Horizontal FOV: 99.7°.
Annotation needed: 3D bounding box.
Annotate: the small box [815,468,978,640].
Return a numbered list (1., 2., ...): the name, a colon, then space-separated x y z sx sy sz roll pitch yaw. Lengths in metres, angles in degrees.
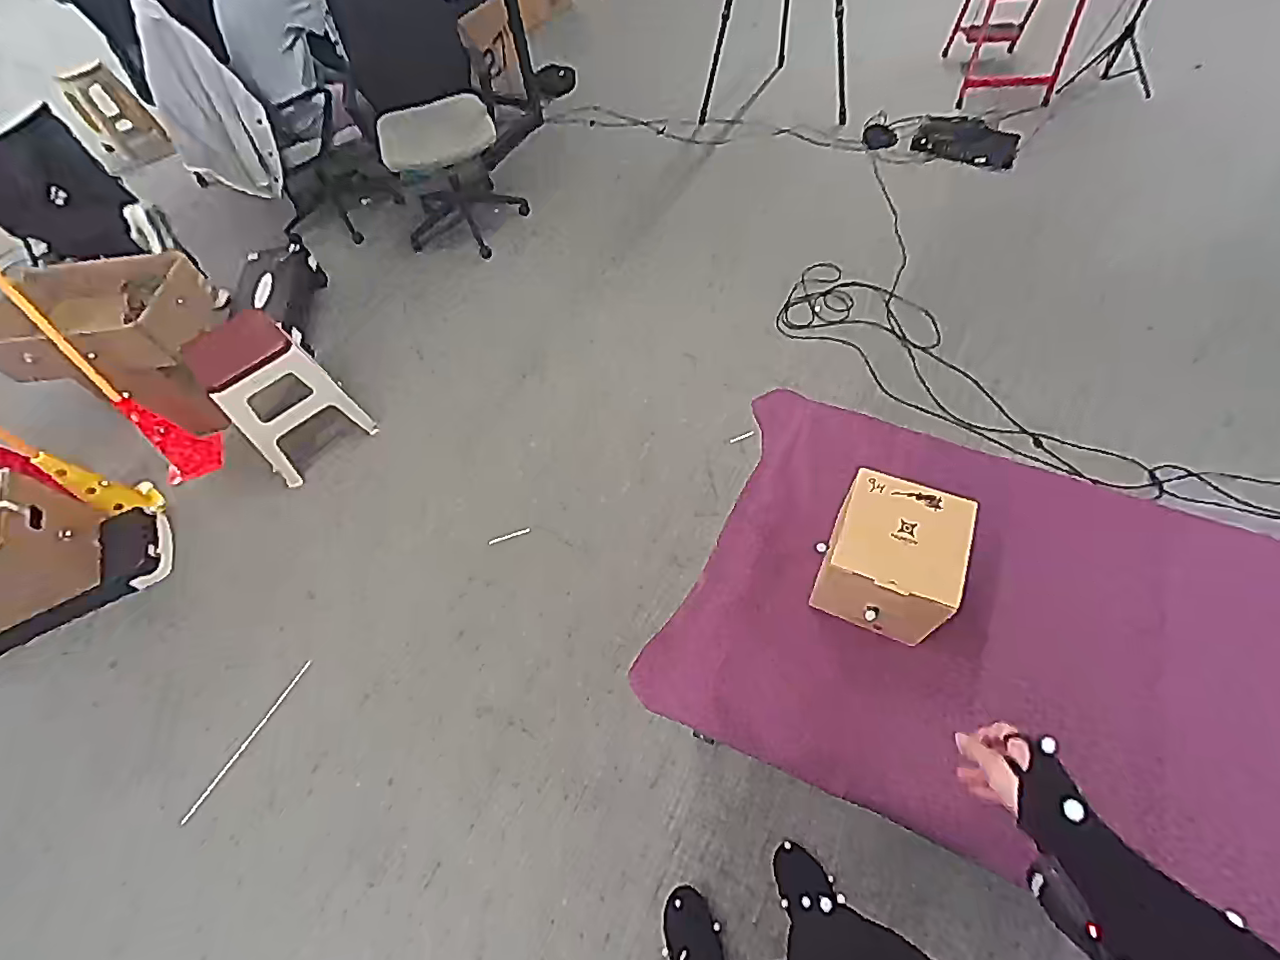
1. small box: 0.374 0.116 0.813 0.168 0.176 0.179 20 63 18
